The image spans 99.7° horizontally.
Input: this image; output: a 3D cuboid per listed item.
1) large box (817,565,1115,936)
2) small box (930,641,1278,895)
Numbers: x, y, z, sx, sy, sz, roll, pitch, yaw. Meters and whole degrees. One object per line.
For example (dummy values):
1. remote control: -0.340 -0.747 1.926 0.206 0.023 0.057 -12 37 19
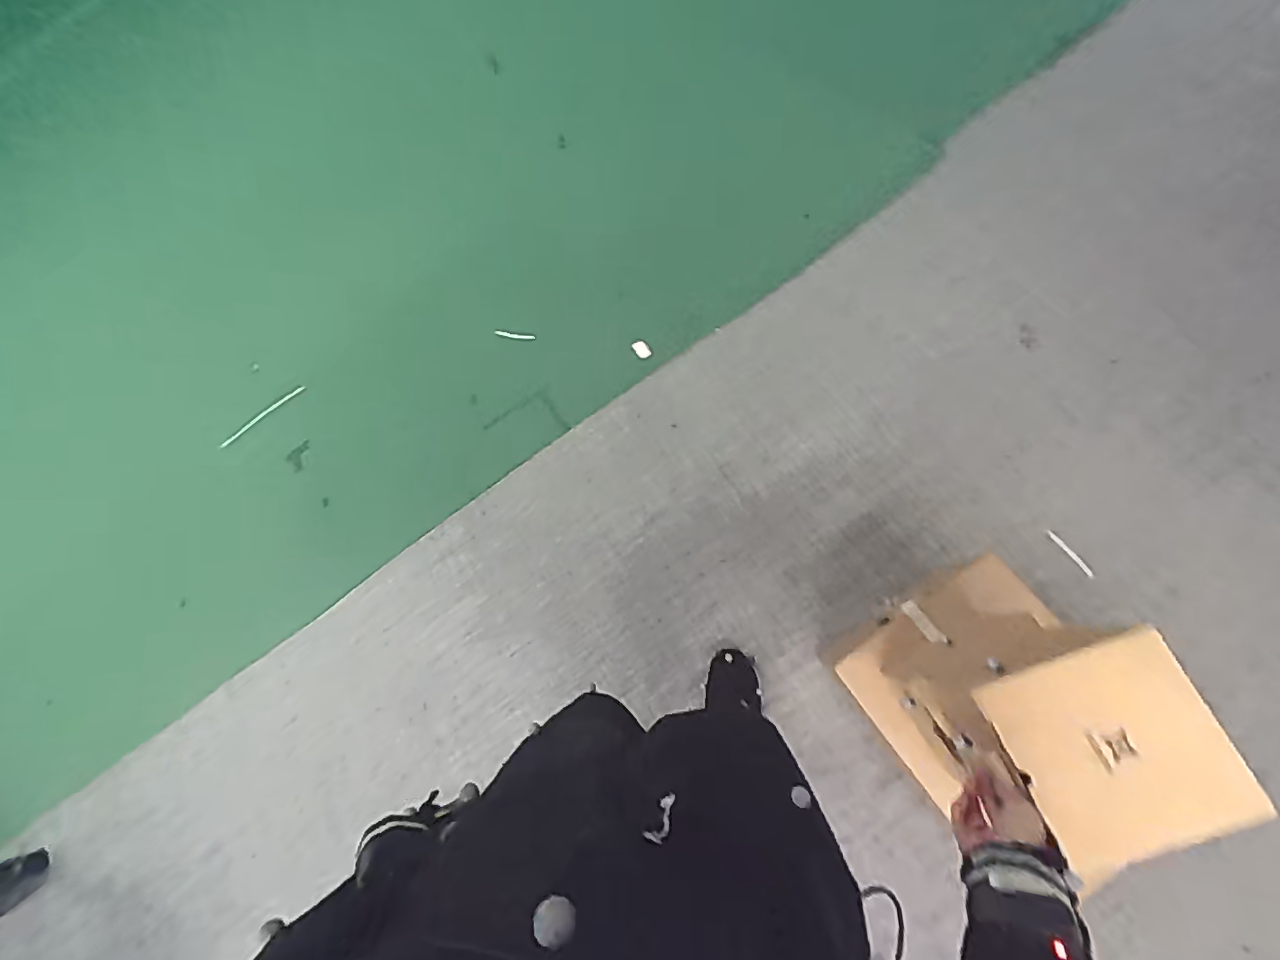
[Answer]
1. large box: 0.567 0.406 0.918 0.320 0.320 0.408 -37 71 2
2. small box: 0.438 0.270 0.553 0.179 0.176 0.168 -23 71 5
